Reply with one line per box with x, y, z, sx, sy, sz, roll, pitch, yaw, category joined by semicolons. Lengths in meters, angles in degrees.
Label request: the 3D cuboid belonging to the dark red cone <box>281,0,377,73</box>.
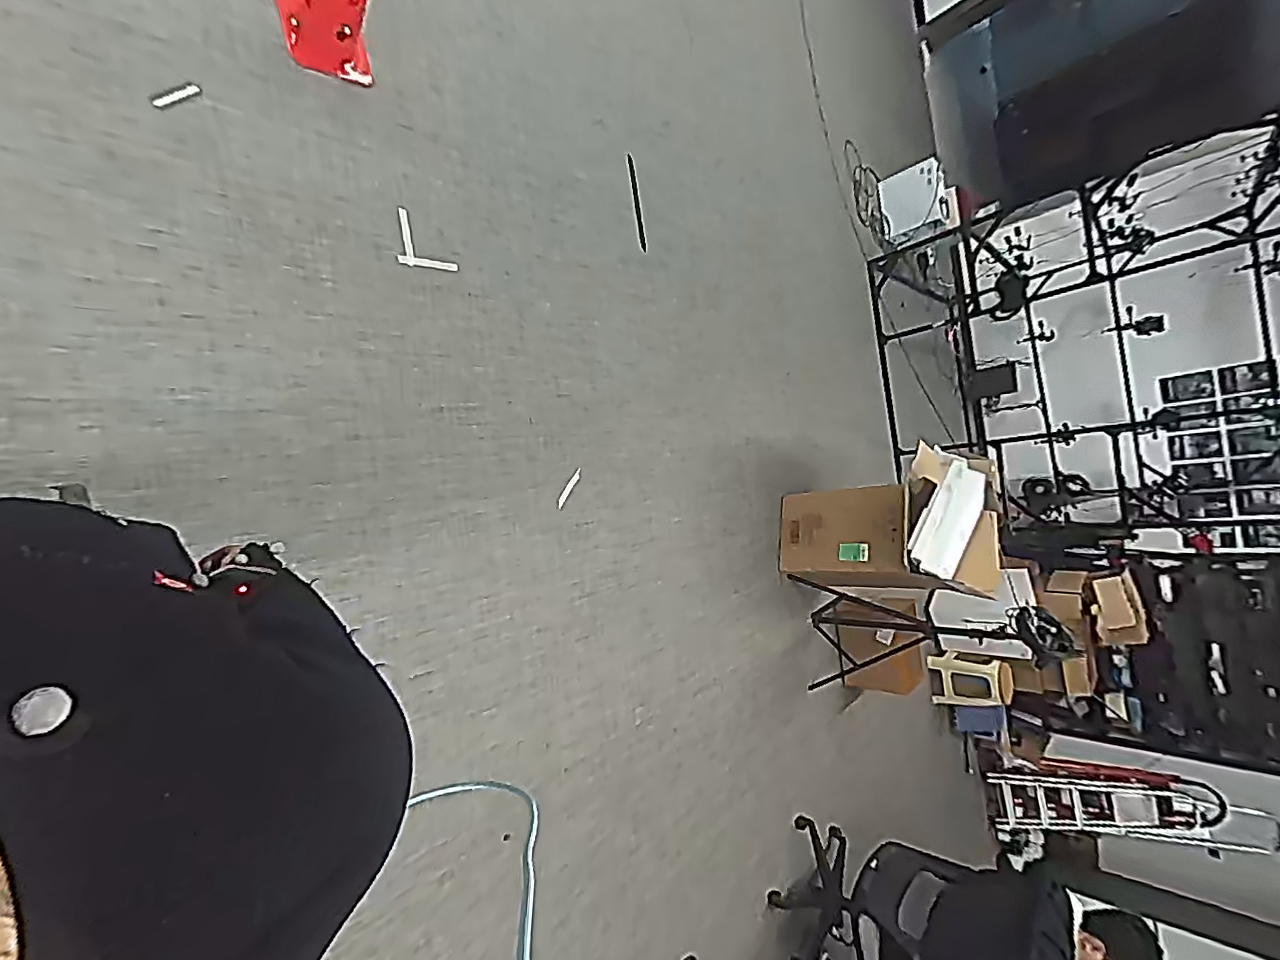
-0.664;-1.154;1.234;0.201;0.394;0.202;-18;97;-44;dark red cone
